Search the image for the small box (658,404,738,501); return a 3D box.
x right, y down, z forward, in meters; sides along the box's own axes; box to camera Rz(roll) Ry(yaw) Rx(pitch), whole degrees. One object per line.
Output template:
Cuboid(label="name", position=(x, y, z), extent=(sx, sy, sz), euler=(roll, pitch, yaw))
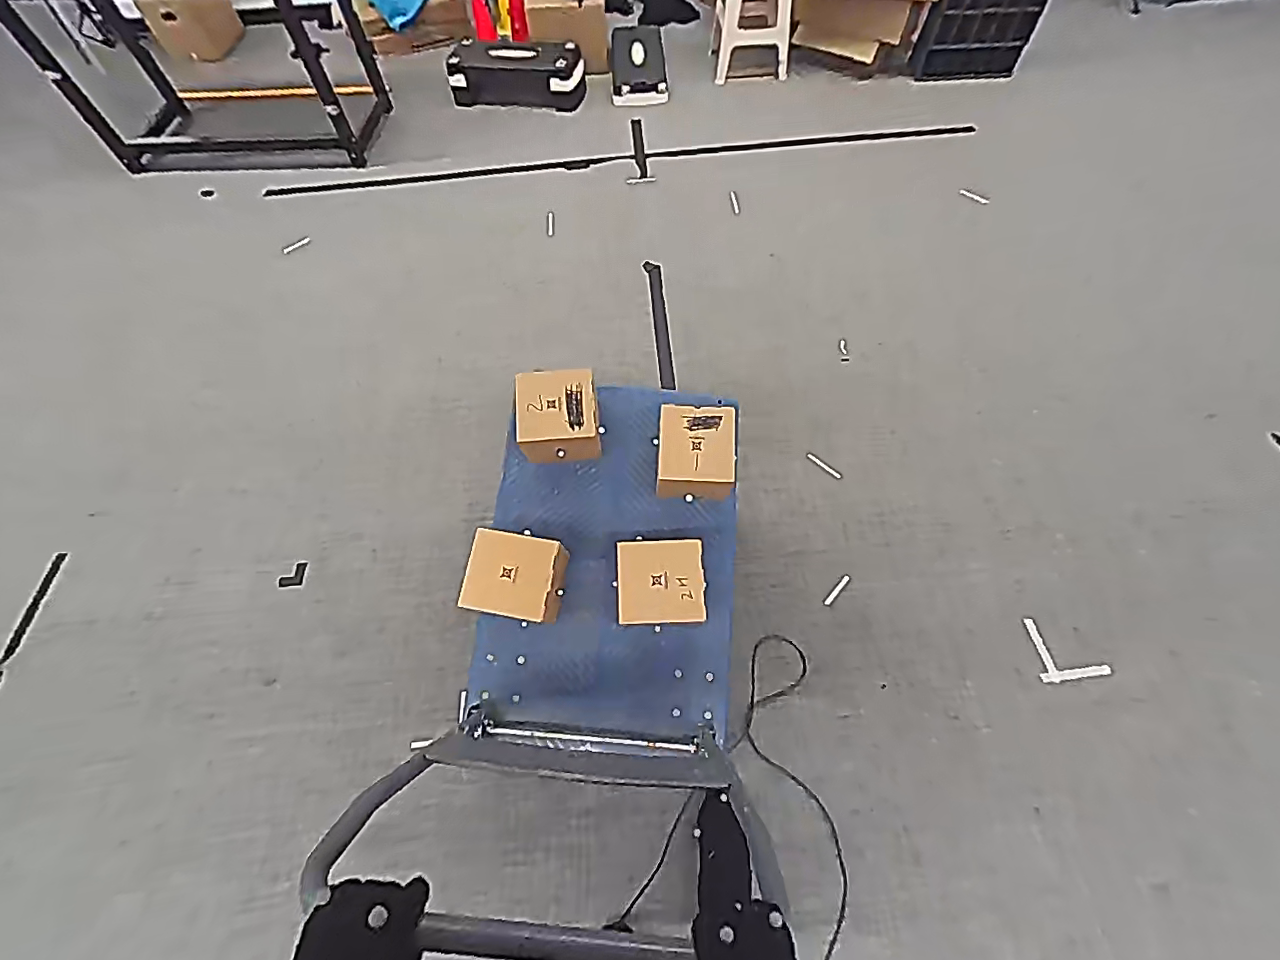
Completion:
Cuboid(label="small box", position=(0.129, -0.060, 1.245), extent=(0.168, 0.176, 0.179), euler=(3, 75, 2))

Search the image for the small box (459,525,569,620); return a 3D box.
Cuboid(label="small box", position=(-0.263, 0.207, 1.174), extent=(0.179, 0.176, 0.168), euler=(10, 74, 2))

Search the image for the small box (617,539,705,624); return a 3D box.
Cuboid(label="small box", position=(0.044, 0.223, 1.166), extent=(0.179, 0.176, 0.168), euler=(-1, 75, 0))
